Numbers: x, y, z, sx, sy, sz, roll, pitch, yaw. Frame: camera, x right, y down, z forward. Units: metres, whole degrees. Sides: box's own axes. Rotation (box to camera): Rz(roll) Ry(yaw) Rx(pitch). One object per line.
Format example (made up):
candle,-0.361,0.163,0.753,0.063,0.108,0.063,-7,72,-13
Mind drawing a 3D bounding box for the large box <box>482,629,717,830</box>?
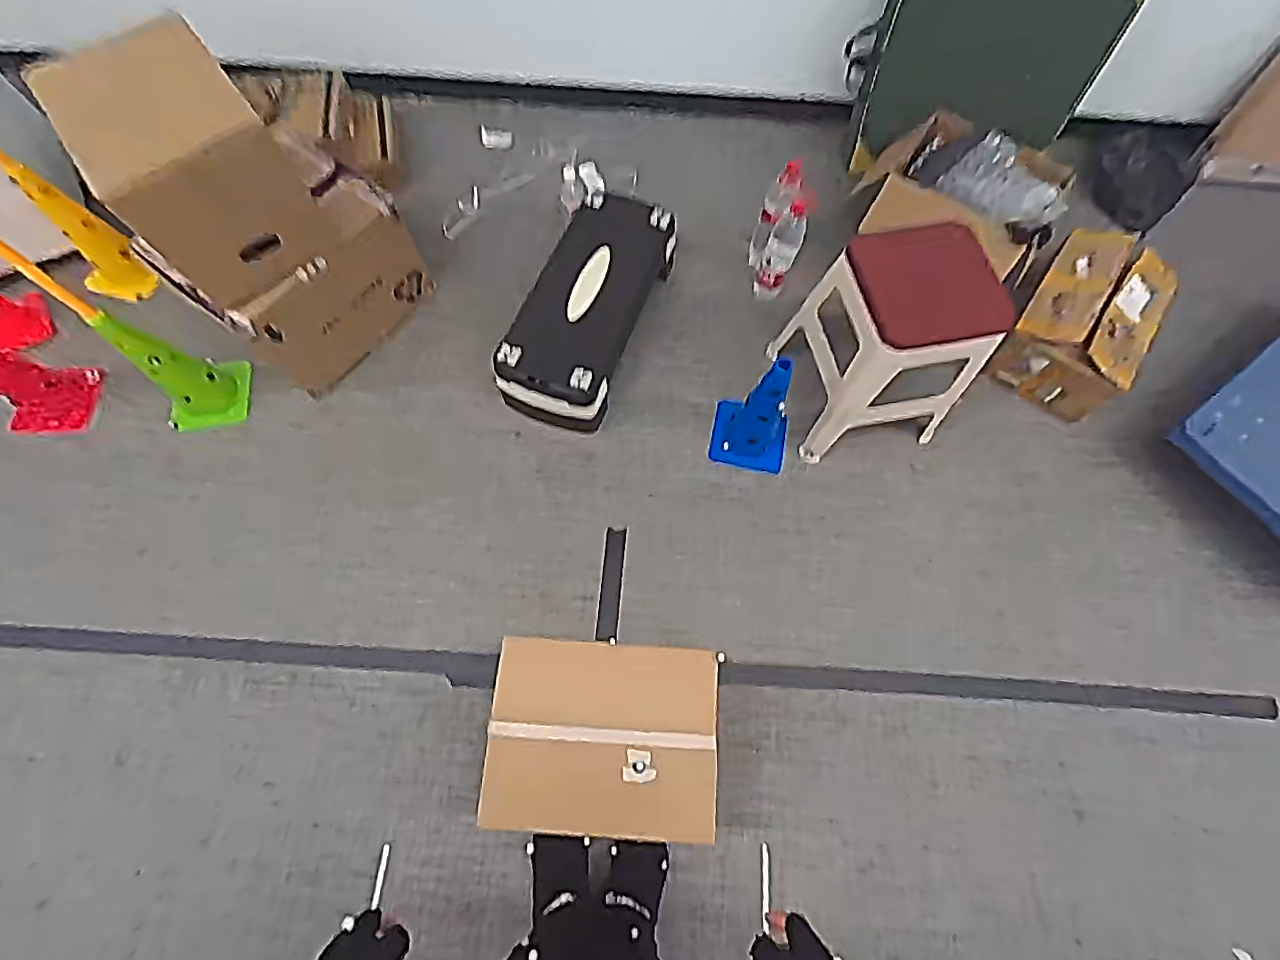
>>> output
large box,-0.070,0.489,1.101,0.408,0.320,0.320,5,70,-1
